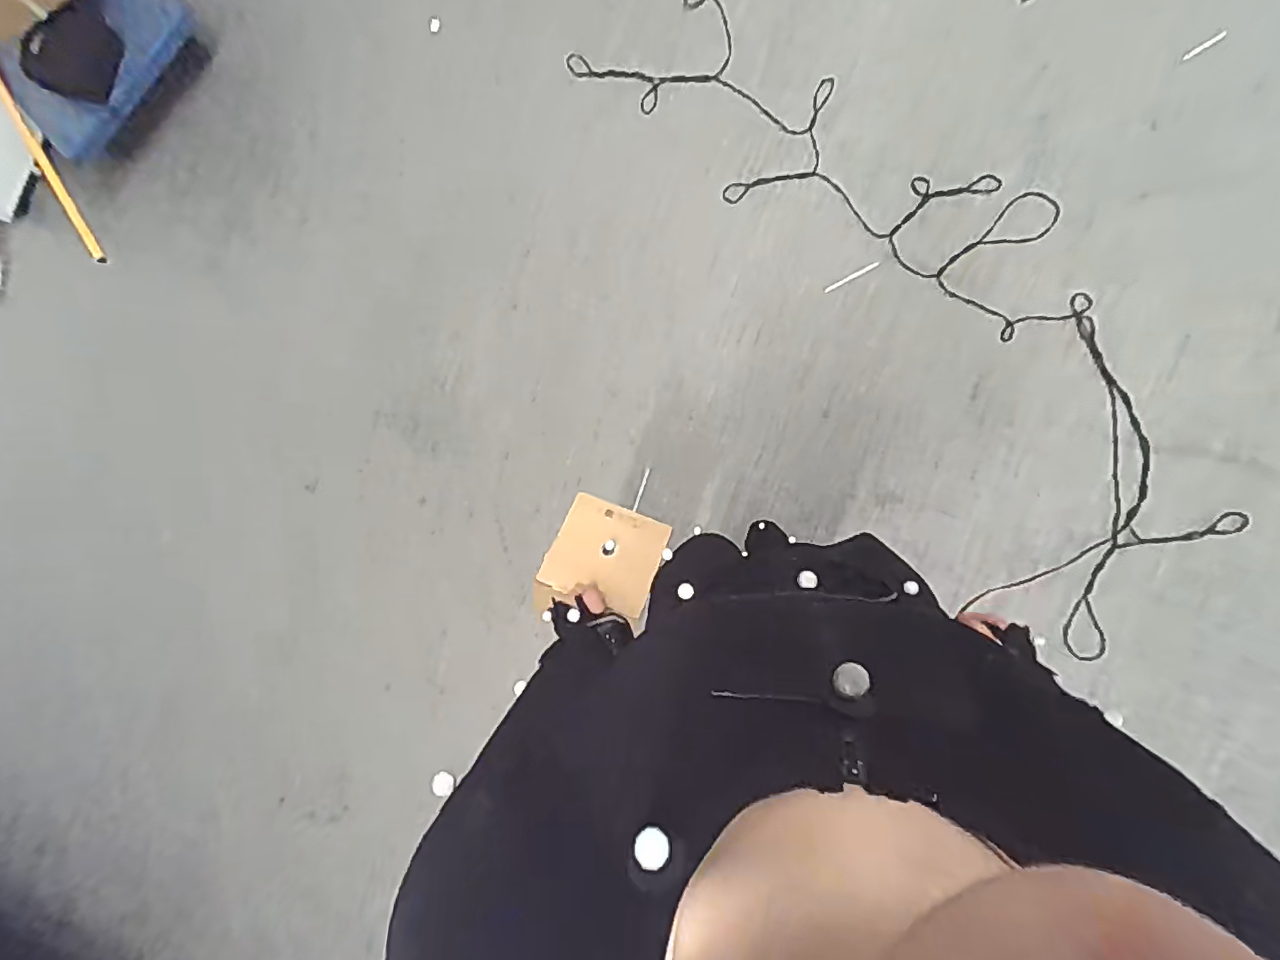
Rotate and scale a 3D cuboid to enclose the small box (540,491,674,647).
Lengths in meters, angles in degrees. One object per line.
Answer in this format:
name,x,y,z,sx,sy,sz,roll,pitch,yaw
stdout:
small box,-0.054,0.145,0.893,0.168,0.179,0.176,22,57,4
